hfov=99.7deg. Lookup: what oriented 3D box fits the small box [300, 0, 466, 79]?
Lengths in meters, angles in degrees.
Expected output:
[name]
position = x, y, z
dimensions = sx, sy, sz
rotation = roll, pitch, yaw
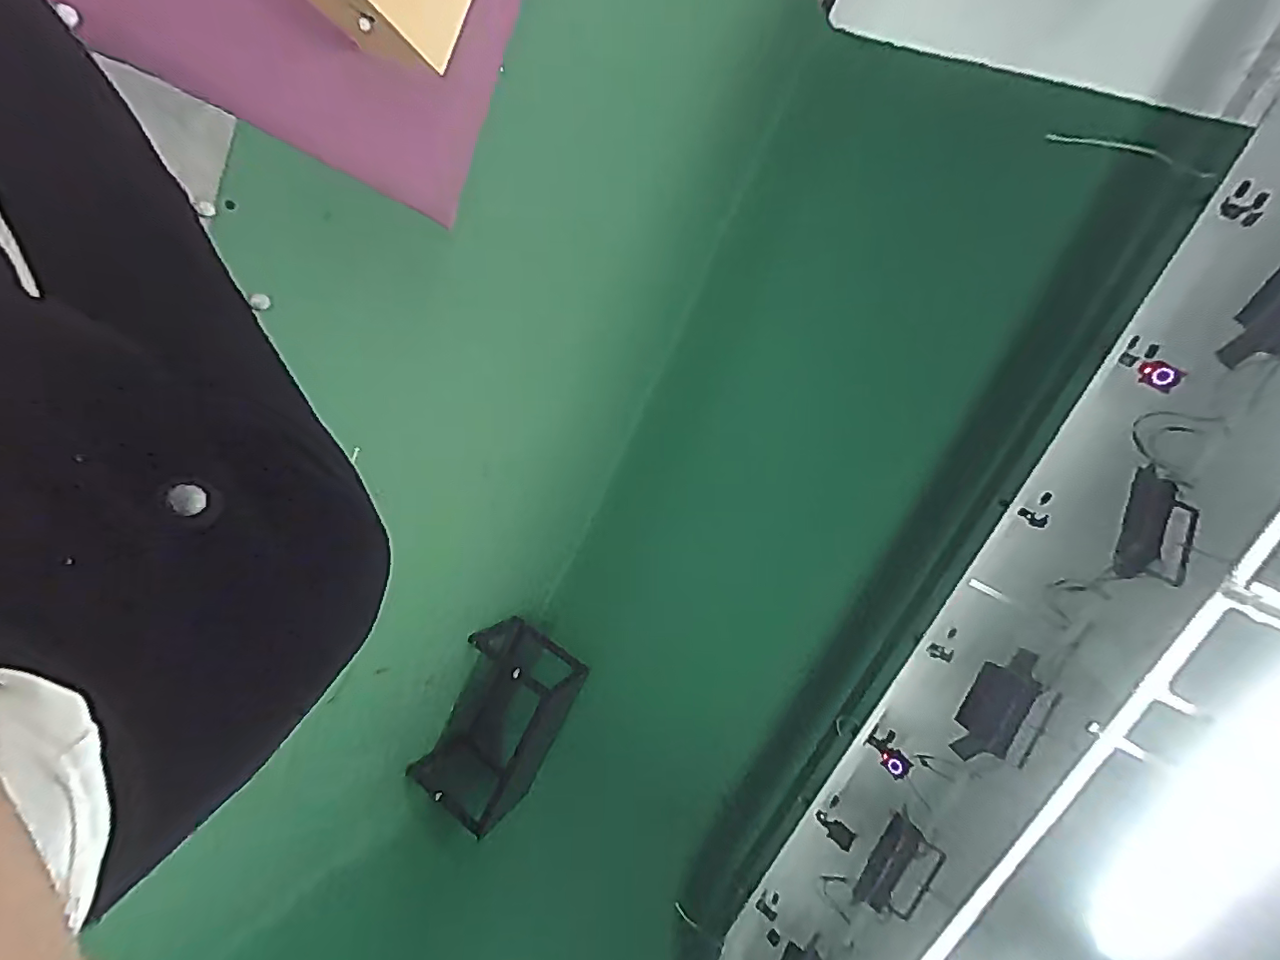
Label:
[small box]
position = -0.349, -0.674, 0.693
dimensions = 0.168, 0.176, 0.179
rotation = -63, 162, 9
